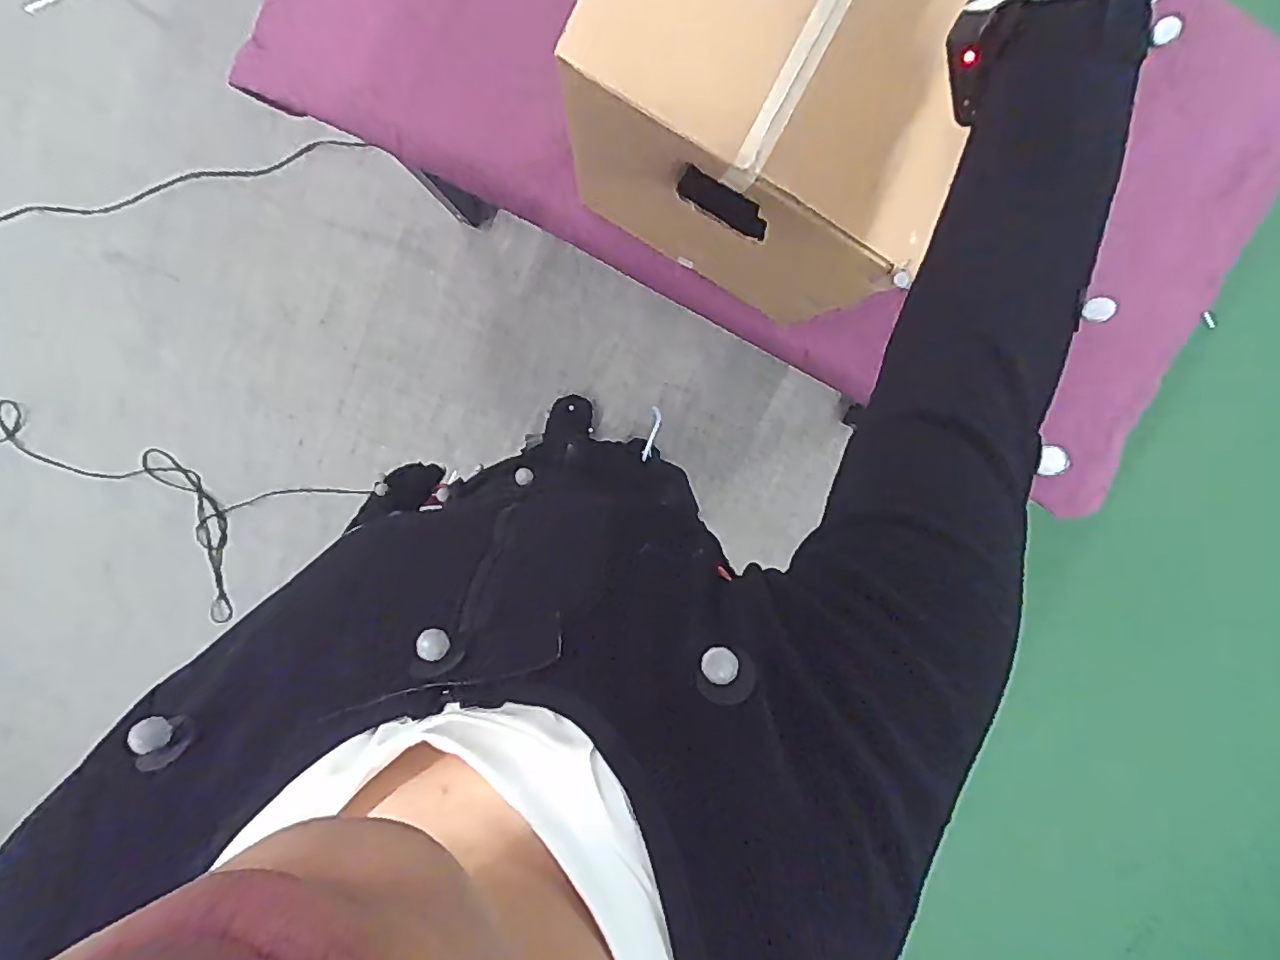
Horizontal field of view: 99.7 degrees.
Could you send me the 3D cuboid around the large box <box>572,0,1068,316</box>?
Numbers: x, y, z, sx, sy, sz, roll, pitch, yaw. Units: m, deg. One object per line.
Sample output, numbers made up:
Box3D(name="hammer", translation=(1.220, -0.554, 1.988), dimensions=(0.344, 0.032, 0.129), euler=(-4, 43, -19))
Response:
Box3D(name="large box", translation=(0.164, -0.431, 0.539), dimensions=(0.320, 0.320, 0.408), euler=(28, 98, -7))
